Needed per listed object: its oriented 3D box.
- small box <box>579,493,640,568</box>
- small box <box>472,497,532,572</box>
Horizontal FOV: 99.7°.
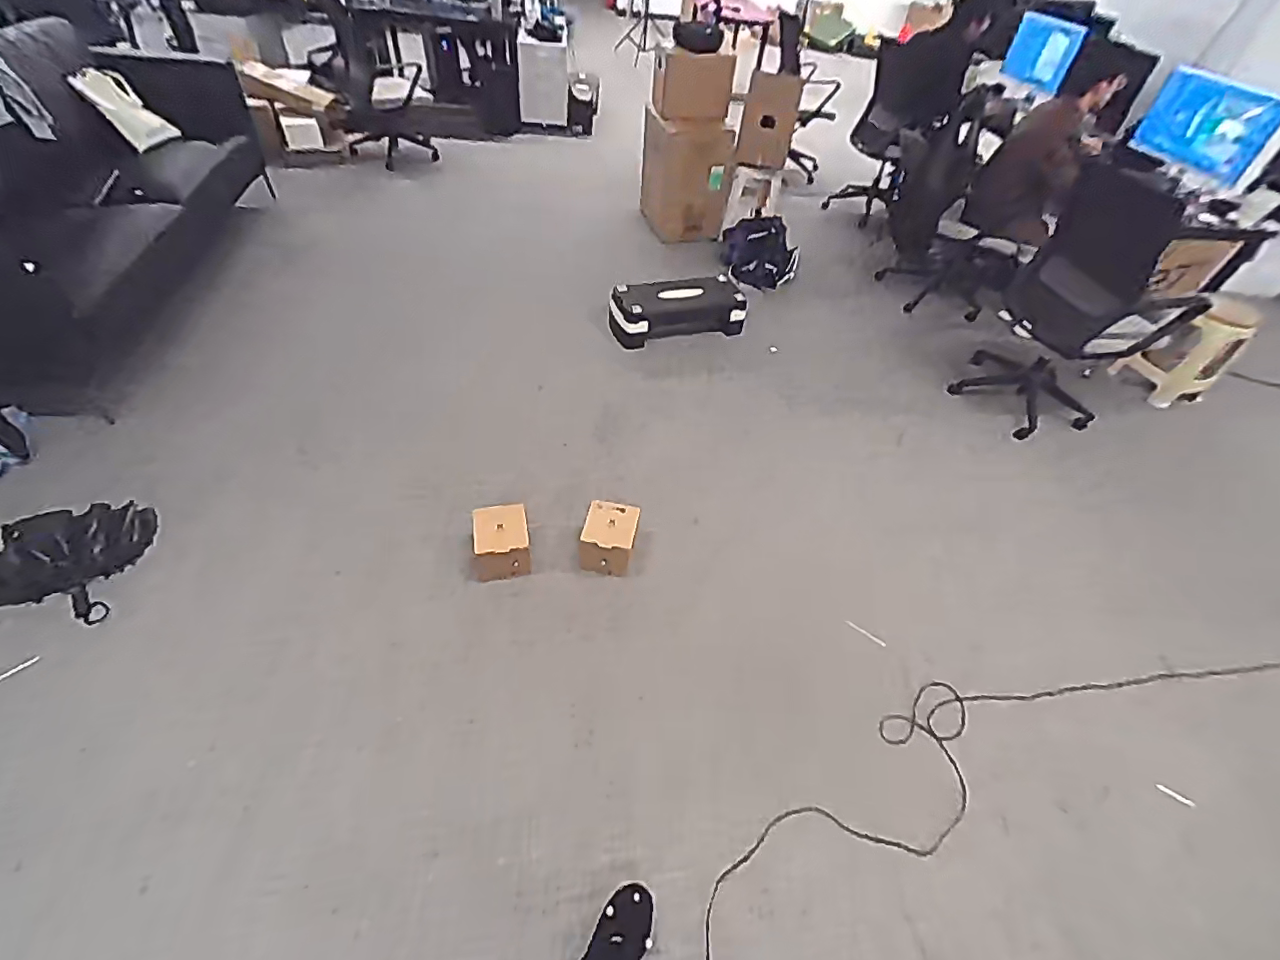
[{"bbox_3d":[-0.099,0.172,1.798,0.168,0.176,0.179,11,49,4],"label":"small box"},{"bbox_3d":[-0.446,0.183,1.754,0.168,0.176,0.179,-8,49,-14],"label":"small box"}]
